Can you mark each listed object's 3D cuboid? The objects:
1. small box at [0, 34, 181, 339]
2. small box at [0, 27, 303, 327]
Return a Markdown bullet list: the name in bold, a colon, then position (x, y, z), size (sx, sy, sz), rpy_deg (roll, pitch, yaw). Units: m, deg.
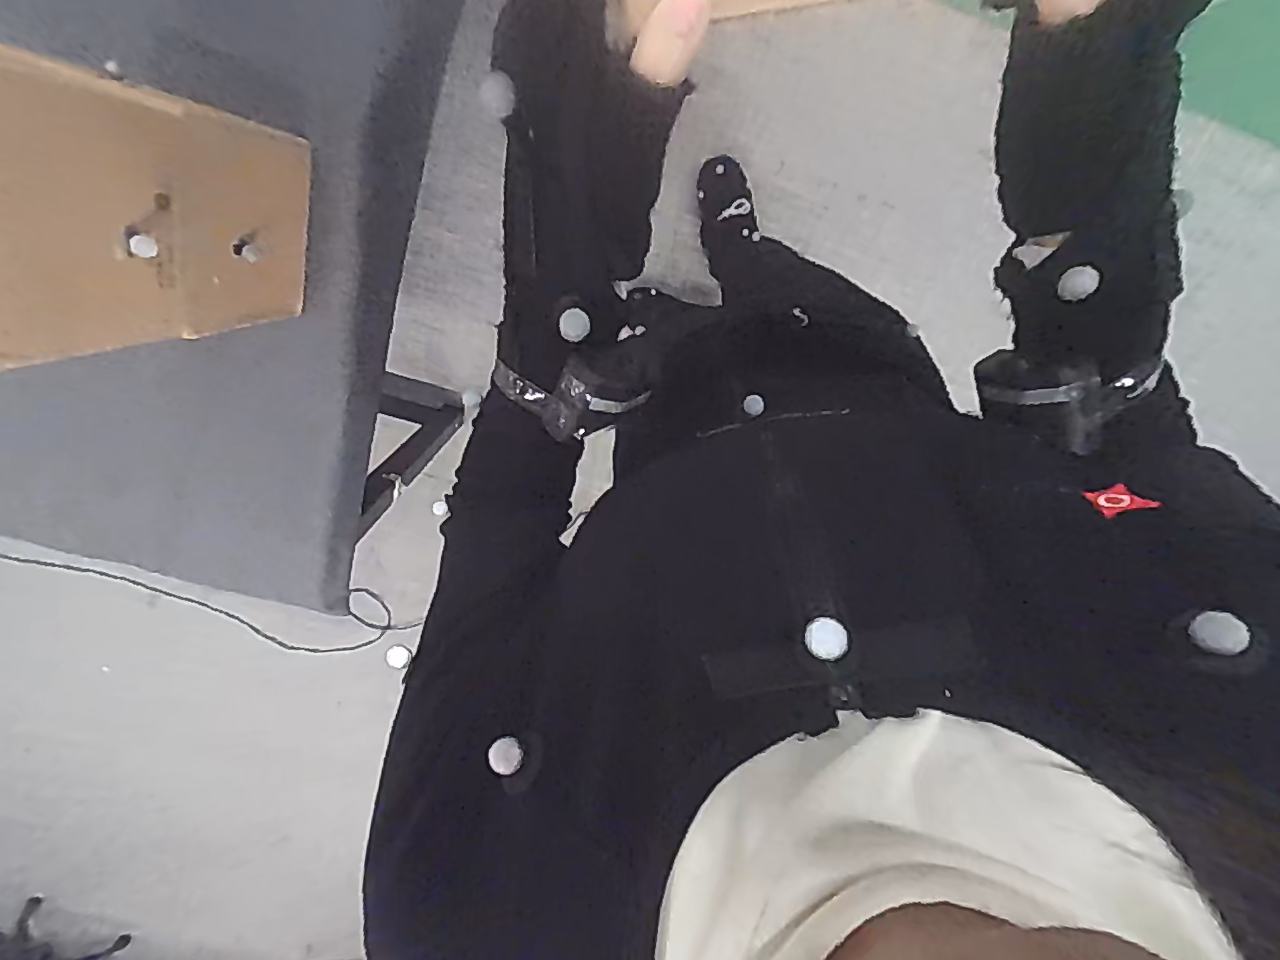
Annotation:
- **small box**: position (-0.441, -0.194, 0.335), size (0.179, 0.176, 0.168), rpy_deg (17, 113, -7)
- **small box**: position (-0.434, -0.260, 0.486), size (0.168, 0.176, 0.179), rpy_deg (17, 114, -7)
